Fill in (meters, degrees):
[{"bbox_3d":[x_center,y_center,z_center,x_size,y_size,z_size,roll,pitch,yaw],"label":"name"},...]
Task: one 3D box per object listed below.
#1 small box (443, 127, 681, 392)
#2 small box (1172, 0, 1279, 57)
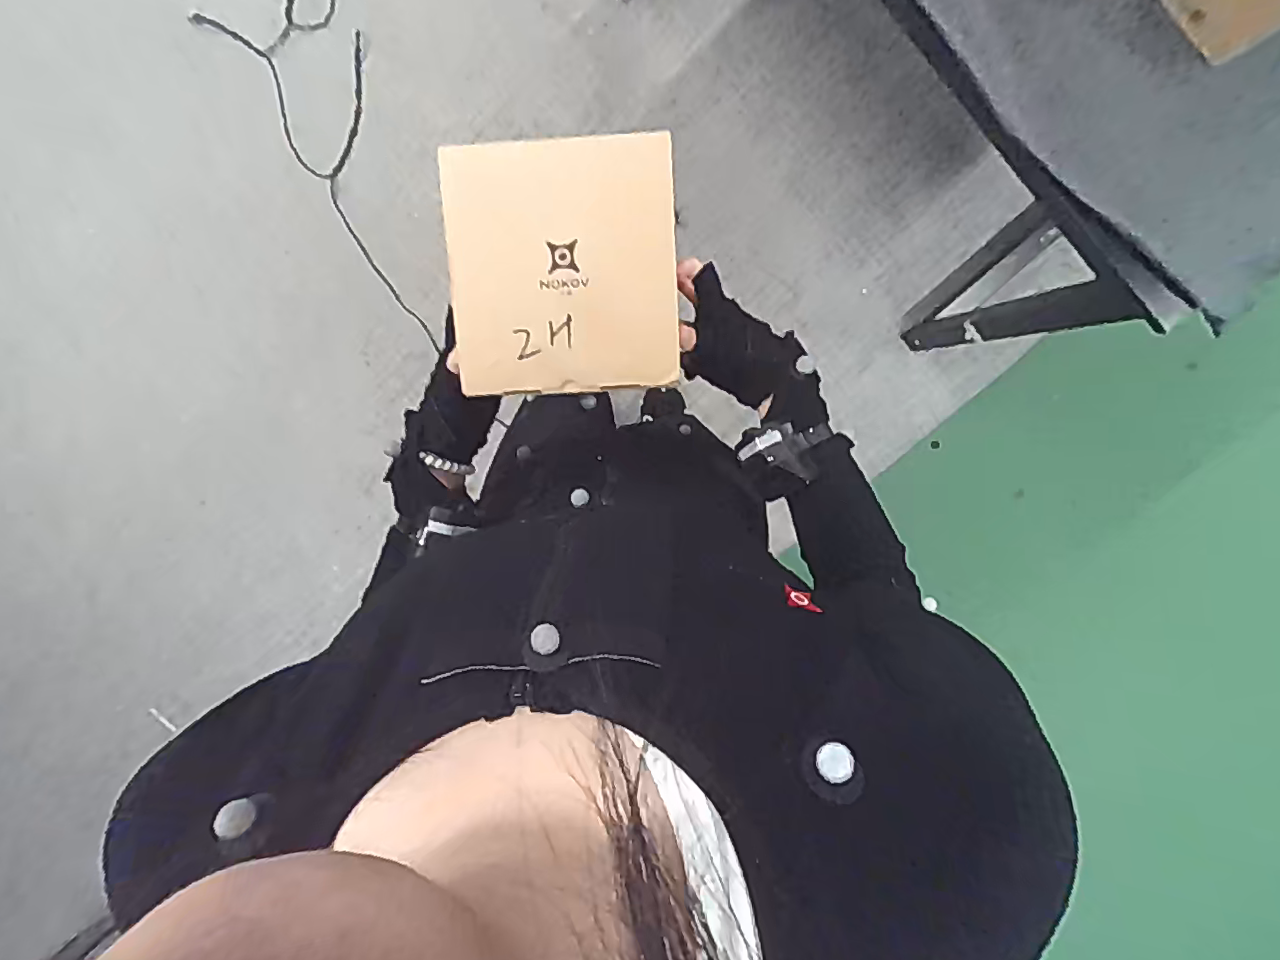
[{"bbox_3d":[-0.053,-0.168,0.468,0.168,0.176,0.179,-2,99,2],"label":"small box"},{"bbox_3d":[0.647,-0.568,0.513,0.179,0.176,0.168,-43,95,9],"label":"small box"}]
